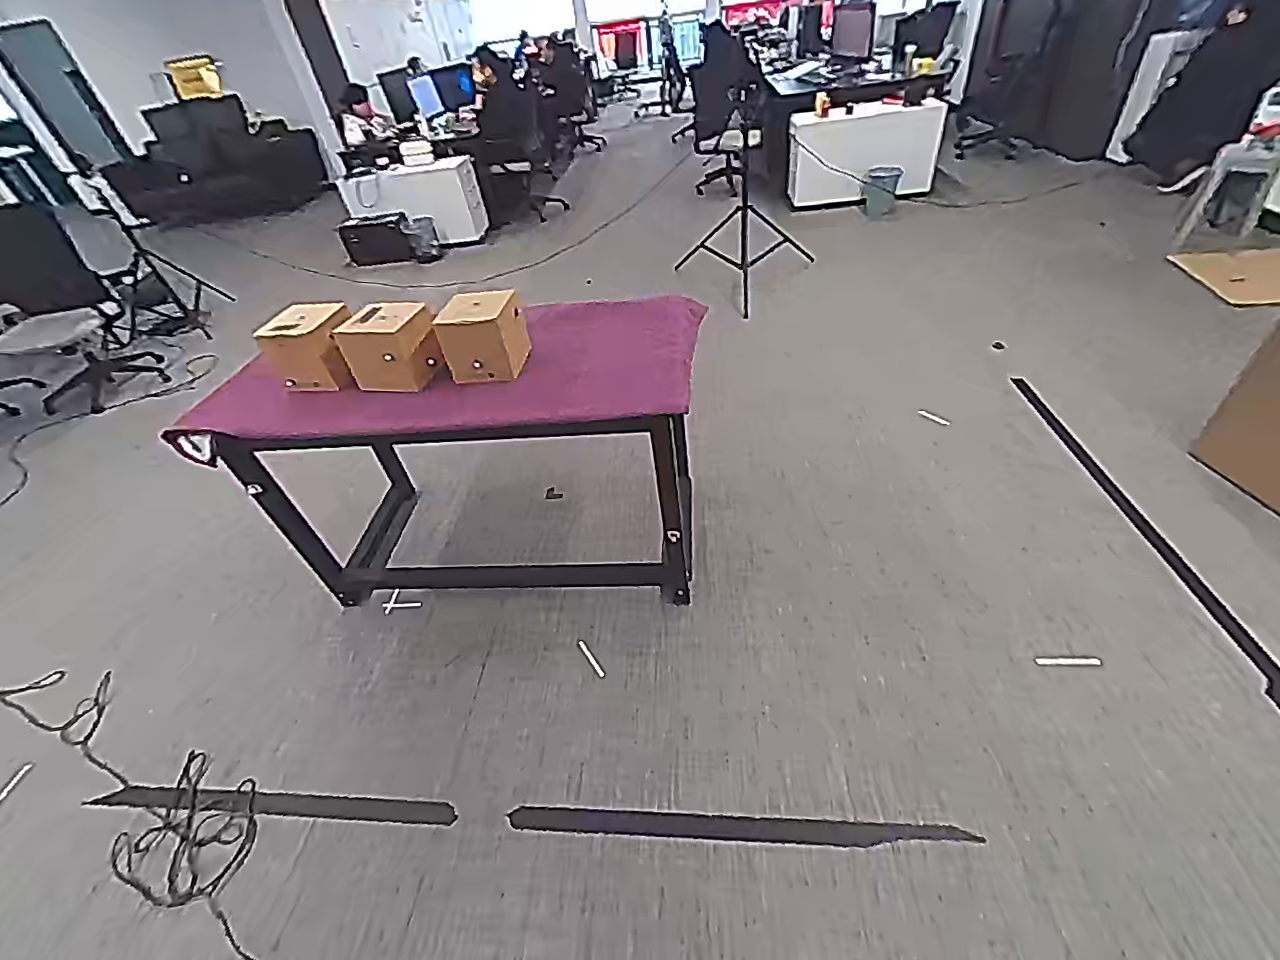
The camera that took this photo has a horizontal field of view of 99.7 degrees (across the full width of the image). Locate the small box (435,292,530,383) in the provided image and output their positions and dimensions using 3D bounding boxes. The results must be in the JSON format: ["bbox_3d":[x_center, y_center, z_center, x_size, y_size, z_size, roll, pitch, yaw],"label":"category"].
[{"bbox_3d":[-0.395,-0.366,1.397,0.168,0.176,0.179,-2,41,9],"label":"small box"}]

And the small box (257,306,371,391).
[{"bbox_3d":[-0.868,-0.354,1.465,0.168,0.176,0.179,2,43,11],"label":"small box"}]
